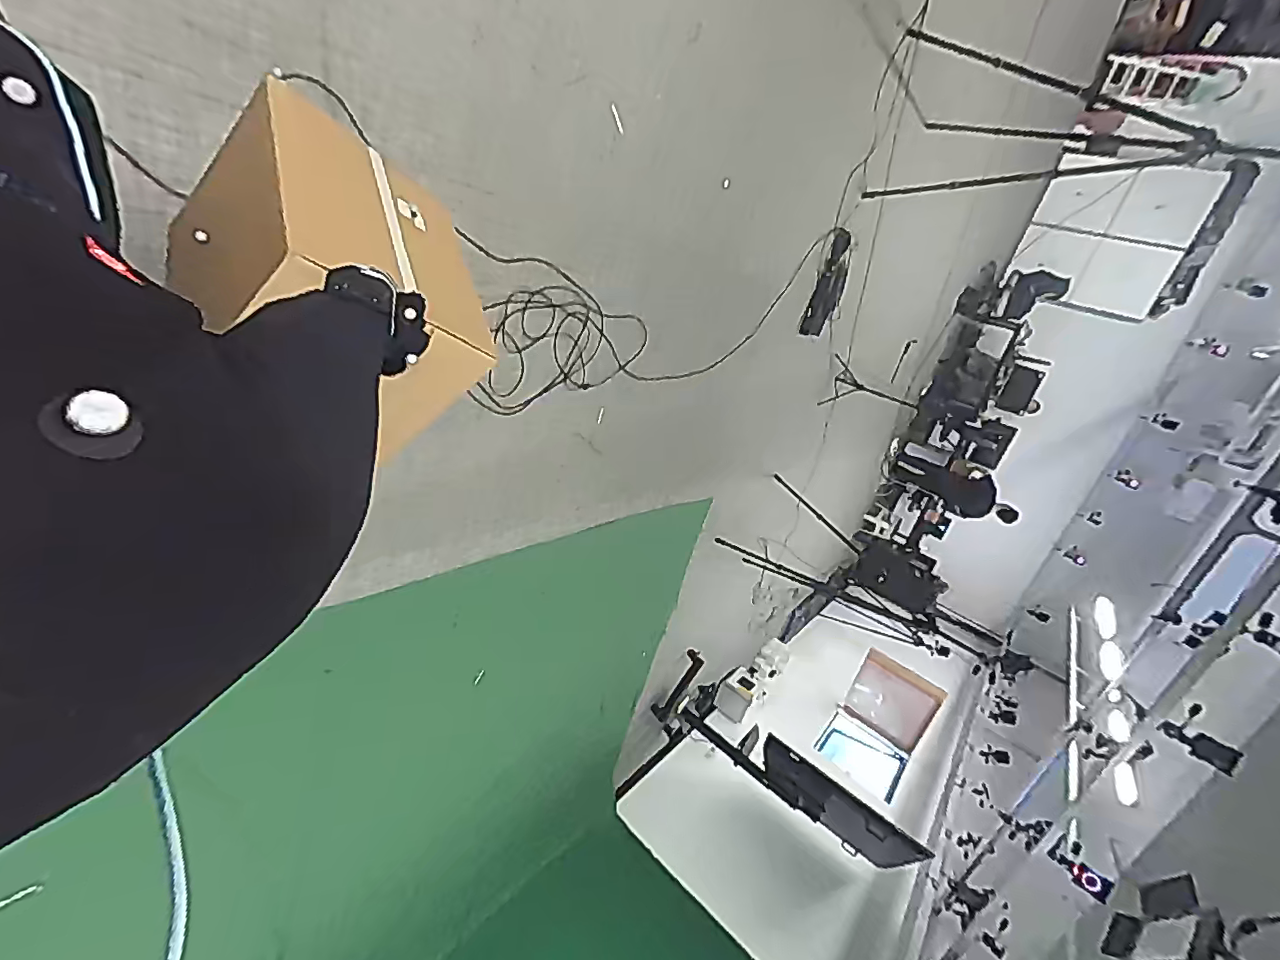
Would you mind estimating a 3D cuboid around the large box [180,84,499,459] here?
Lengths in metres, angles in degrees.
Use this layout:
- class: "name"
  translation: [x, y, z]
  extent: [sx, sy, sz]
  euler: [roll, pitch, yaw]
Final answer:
- class: "large box"
  translation: [-0.490, -0.299, 0.870]
  extent: [0.320, 0.408, 0.320]
  euler: [-35, 152, 21]
